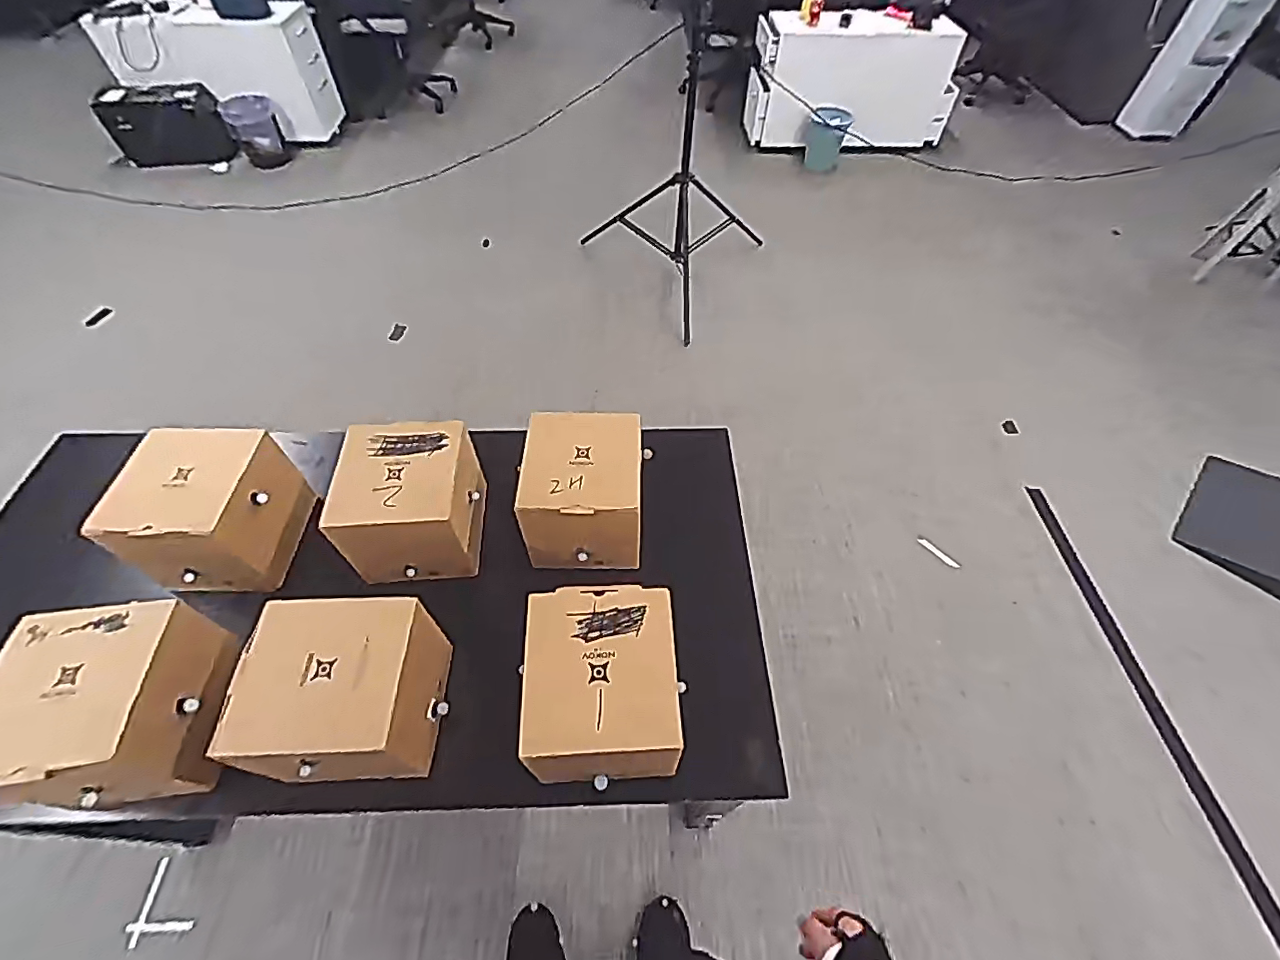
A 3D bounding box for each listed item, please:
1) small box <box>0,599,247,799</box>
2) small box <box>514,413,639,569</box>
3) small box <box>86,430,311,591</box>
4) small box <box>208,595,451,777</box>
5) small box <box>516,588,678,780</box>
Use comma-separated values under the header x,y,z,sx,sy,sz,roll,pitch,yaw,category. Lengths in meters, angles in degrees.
x,y,z,sx,sy,sz,roll,pitch,yaw,category
-0.604,0.262,0.632,0.168,0.176,0.179,-6,54,-5,small box
-0.086,0.018,0.825,0.168,0.176,0.179,0,53,0,small box
-0.621,0.046,0.795,0.168,0.176,0.179,0,54,-1,small box
-0.347,0.250,0.648,0.179,0.176,0.168,-1,54,-3,small box
-0.047,0.248,0.652,0.168,0.176,0.179,-2,53,-2,small box
